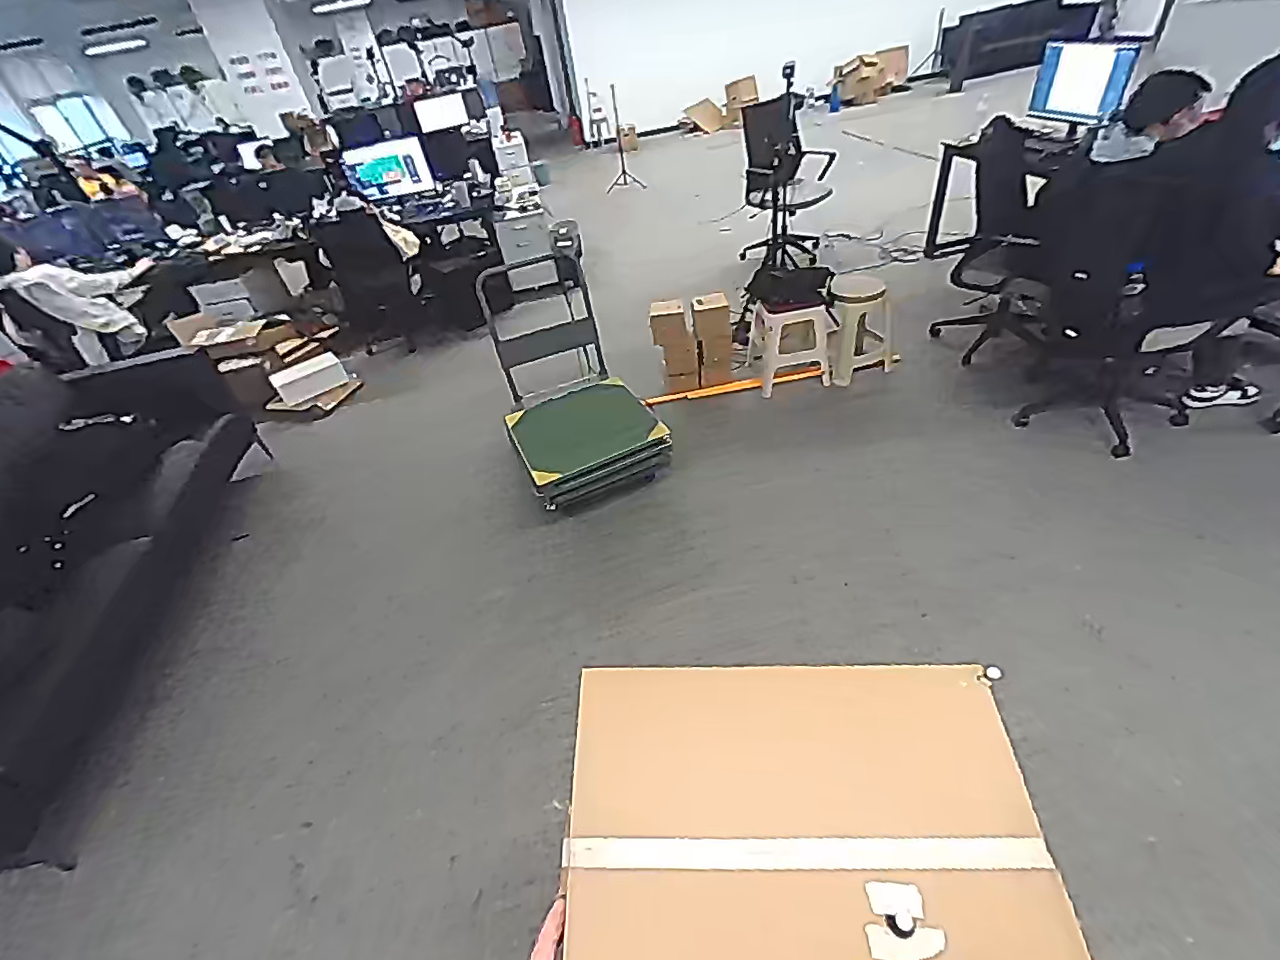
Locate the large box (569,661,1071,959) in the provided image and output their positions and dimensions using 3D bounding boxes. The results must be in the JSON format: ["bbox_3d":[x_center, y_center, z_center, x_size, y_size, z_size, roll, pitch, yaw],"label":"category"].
[{"bbox_3d":[0.144,0.404,0.595,0.408,0.320,0.320,-2,55,2],"label":"large box"}]
